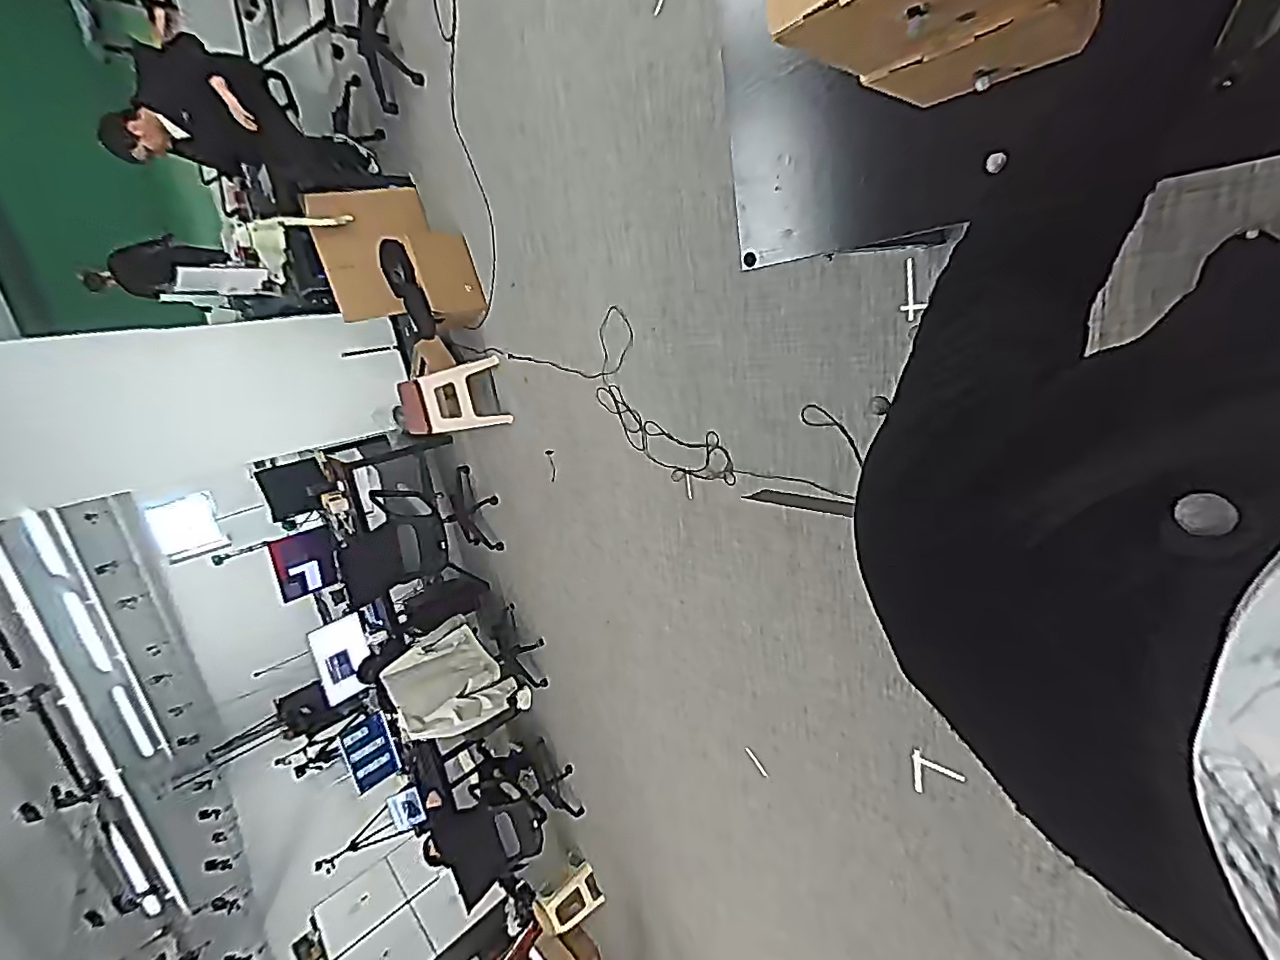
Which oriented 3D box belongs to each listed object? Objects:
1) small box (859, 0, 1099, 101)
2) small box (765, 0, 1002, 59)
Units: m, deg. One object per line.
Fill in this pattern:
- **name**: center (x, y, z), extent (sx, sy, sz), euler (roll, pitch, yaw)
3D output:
- **small box**: center (0.326, -0.500, 0.517), extent (0.168, 0.176, 0.179), euler (11, 115, 46)
- **small box**: center (0.205, -0.460, 0.414), extent (0.168, 0.176, 0.179), euler (7, 113, 47)
